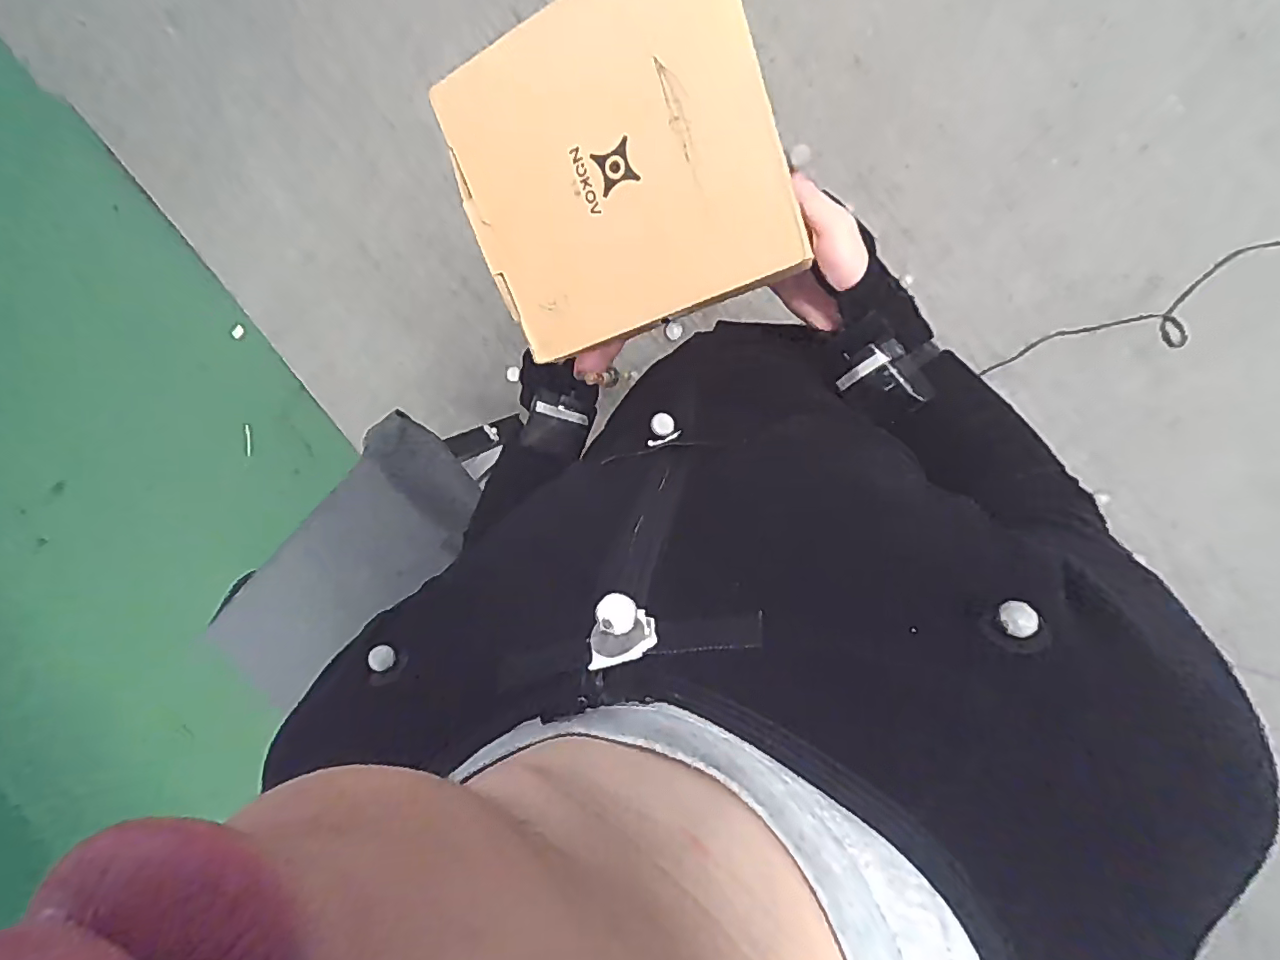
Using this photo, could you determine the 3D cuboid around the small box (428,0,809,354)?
[{"bbox_3d":[0.006,-0.198,0.363,0.179,0.176,0.168,-16,105,22],"label":"small box"}]
